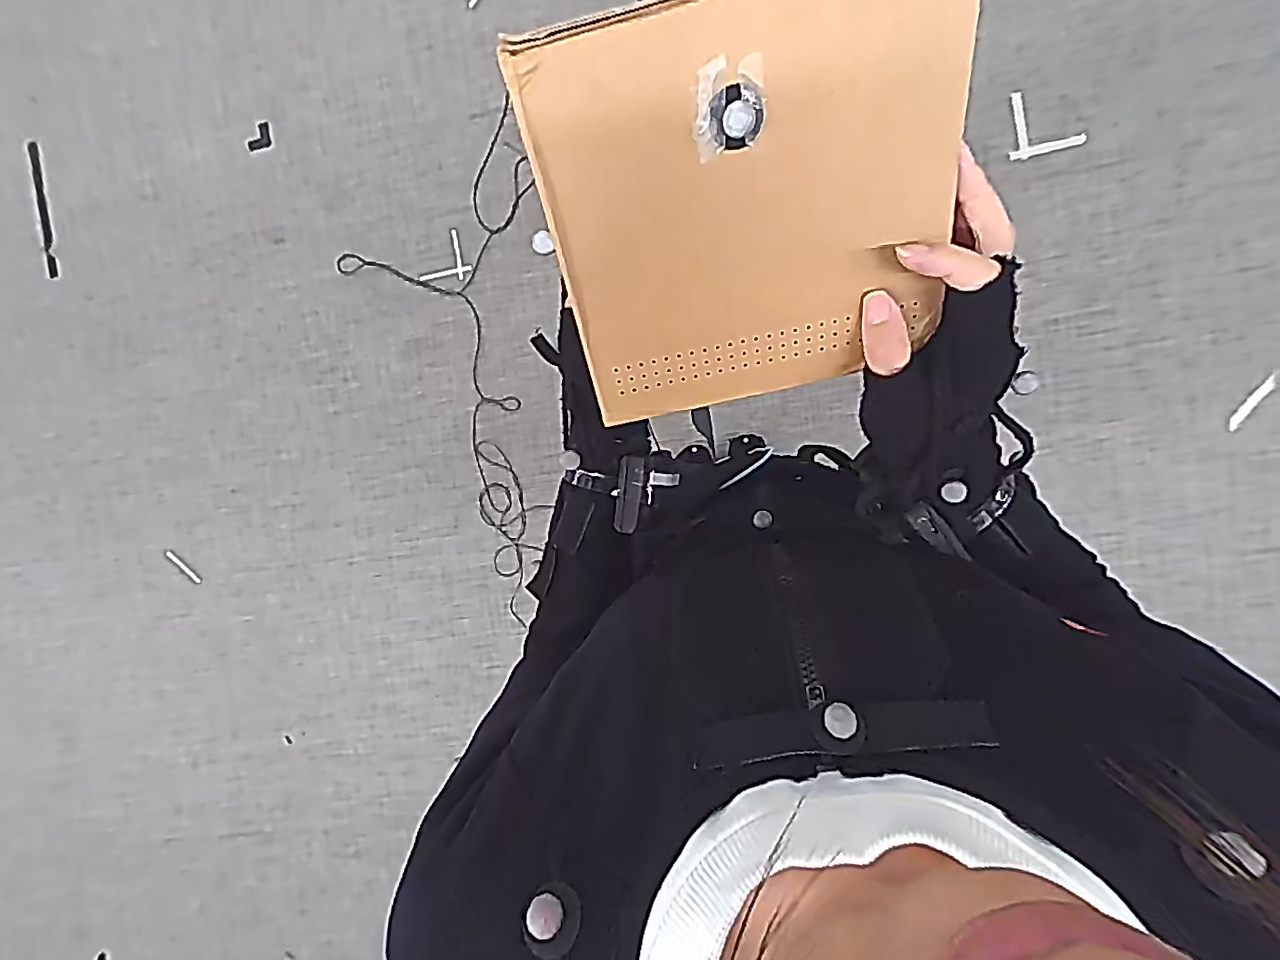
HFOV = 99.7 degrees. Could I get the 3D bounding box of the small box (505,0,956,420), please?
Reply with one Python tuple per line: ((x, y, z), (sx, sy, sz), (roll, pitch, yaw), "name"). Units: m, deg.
((0.047, -0.151, 0.304), (0.179, 0.168, 0.176), (-11, 126, 5), "small box")
